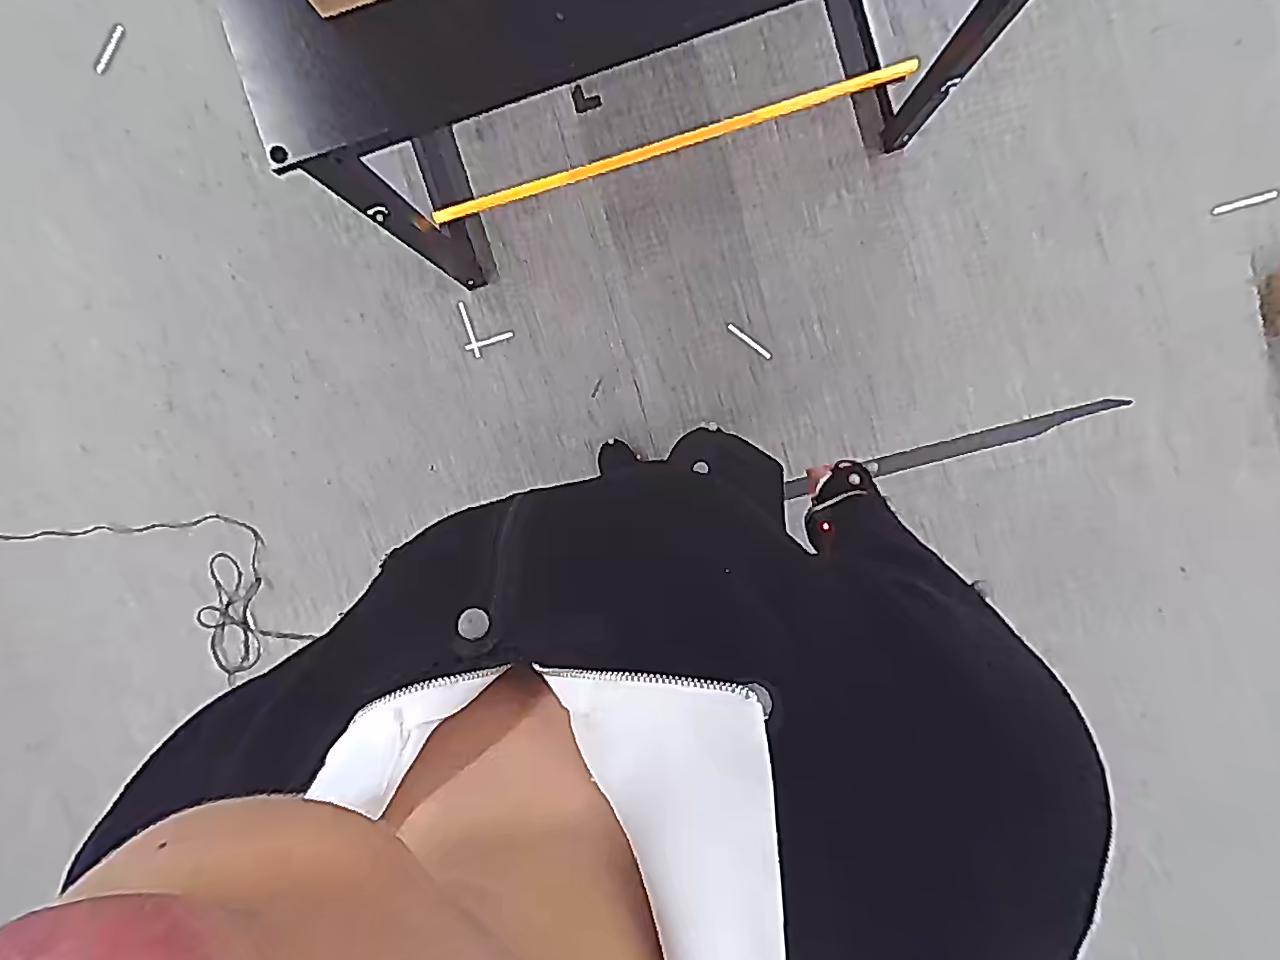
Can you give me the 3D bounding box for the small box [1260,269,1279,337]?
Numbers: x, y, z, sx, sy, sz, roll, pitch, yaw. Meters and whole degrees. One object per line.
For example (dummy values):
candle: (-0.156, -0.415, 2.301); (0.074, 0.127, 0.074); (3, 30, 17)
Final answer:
small box: (1.672, -0.457, 1.307); (0.179, 0.176, 0.168); (-14, 95, 4)
